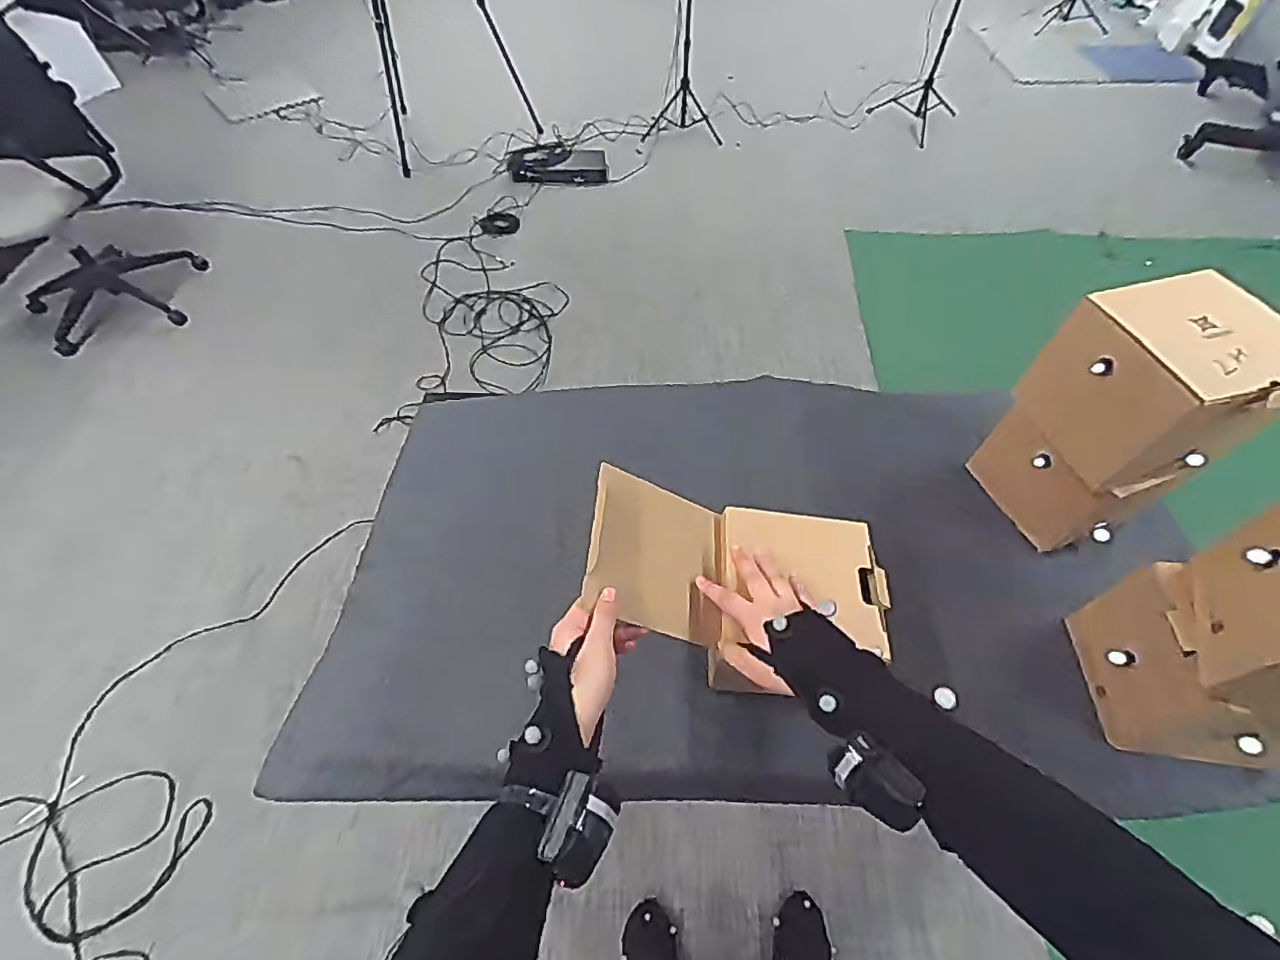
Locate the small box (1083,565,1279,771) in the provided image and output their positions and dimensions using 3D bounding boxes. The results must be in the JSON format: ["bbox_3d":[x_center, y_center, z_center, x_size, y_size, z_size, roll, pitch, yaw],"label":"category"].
[{"bbox_3d":[0.652,0.215,0.610,0.179,0.176,0.168,5,53,6],"label":"small box"}]

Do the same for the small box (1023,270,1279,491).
[{"bbox_3d":[0.611,-0.114,0.640,0.168,0.176,0.179,-13,57,-4],"label":"small box"}]

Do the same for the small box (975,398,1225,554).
[{"bbox_3d":[0.633,-0.023,0.776,0.168,0.176,0.179,-18,58,-8],"label":"small box"}]

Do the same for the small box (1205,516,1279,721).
[{"bbox_3d":[0.651,0.130,0.469,0.179,0.176,0.168,24,57,17],"label":"small box"}]
